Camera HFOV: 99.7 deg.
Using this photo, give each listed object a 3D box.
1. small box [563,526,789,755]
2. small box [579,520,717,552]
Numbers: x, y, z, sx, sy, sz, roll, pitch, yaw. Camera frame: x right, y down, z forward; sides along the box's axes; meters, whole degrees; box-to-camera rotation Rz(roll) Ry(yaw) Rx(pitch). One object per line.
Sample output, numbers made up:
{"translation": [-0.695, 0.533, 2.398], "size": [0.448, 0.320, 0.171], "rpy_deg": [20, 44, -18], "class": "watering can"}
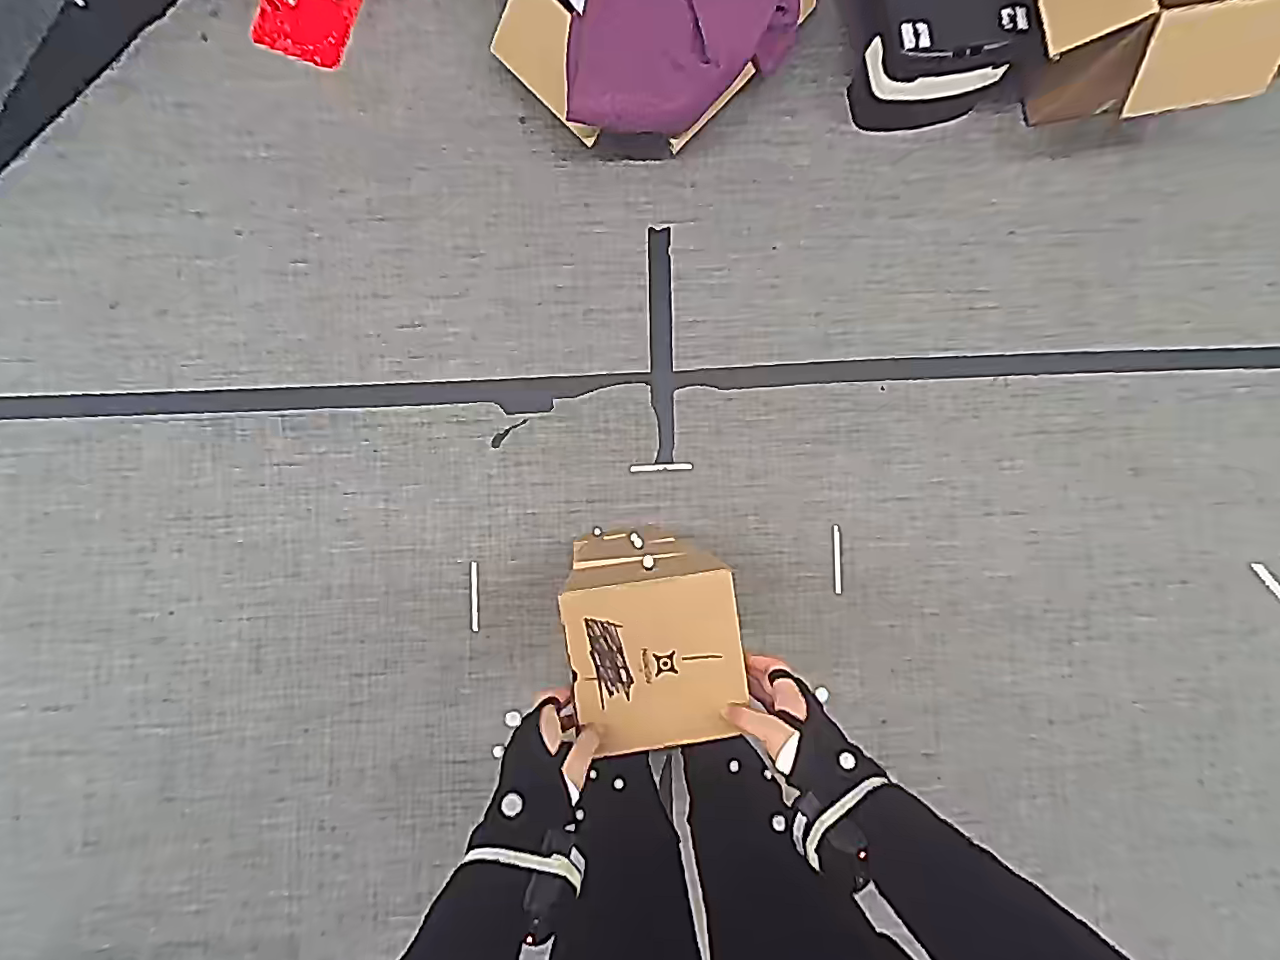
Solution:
{"translation": [0.028, 0.141, 0.534], "size": [0.179, 0.176, 0.168], "rpy_deg": [-8, 90, -3], "class": "small box"}
{"translation": [0.012, 0.144, 0.697], "size": [0.168, 0.176, 0.179], "rpy_deg": [-4, 90, -2], "class": "small box"}
